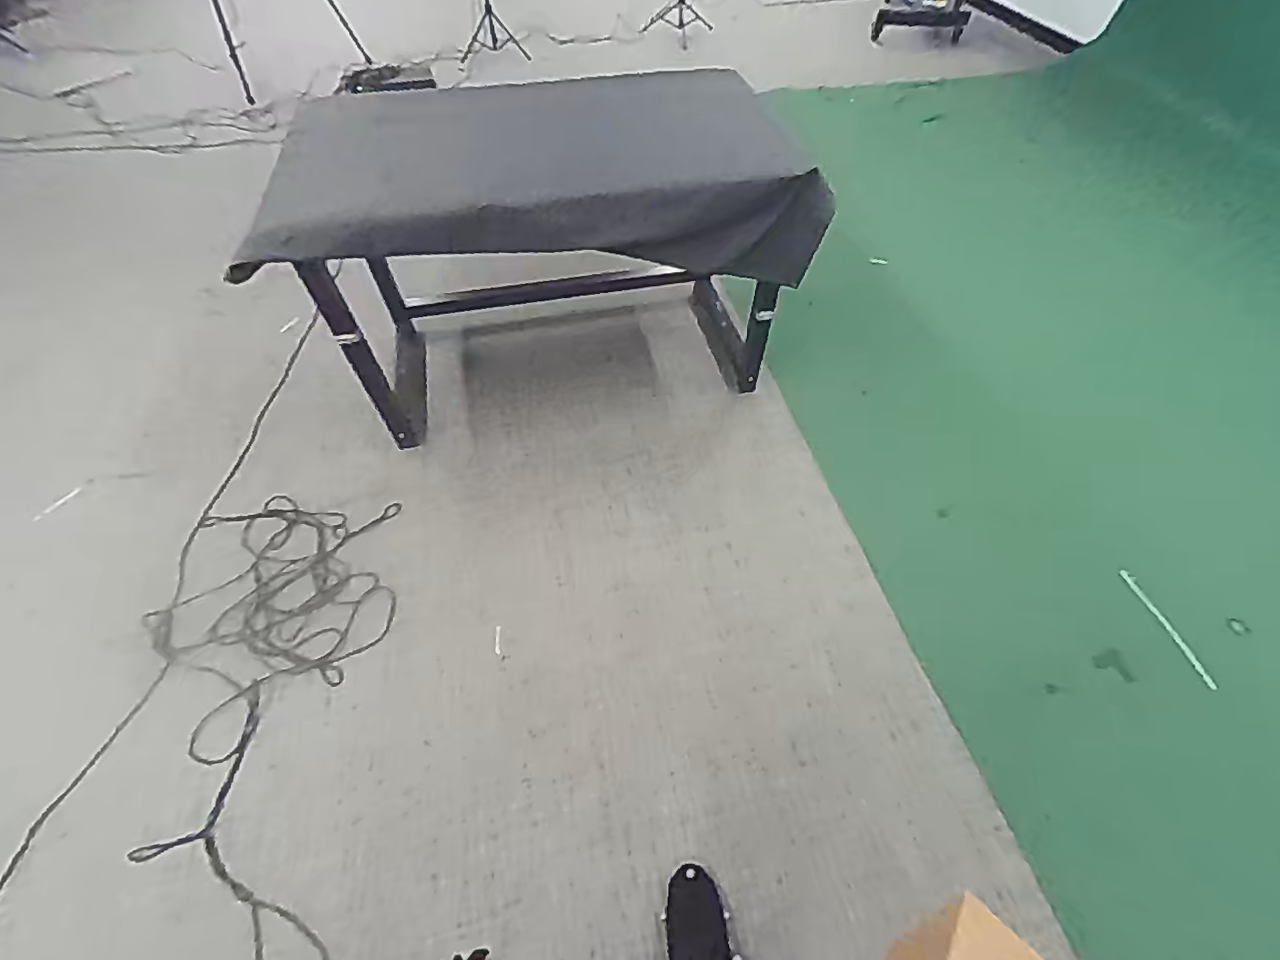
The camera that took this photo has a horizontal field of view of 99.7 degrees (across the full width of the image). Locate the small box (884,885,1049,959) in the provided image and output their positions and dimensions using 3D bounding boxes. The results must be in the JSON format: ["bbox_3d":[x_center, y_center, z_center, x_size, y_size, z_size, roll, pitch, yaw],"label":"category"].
[{"bbox_3d":[0.349,0.592,0.561,0.168,0.176,0.179,37,33,28],"label":"small box"}]
